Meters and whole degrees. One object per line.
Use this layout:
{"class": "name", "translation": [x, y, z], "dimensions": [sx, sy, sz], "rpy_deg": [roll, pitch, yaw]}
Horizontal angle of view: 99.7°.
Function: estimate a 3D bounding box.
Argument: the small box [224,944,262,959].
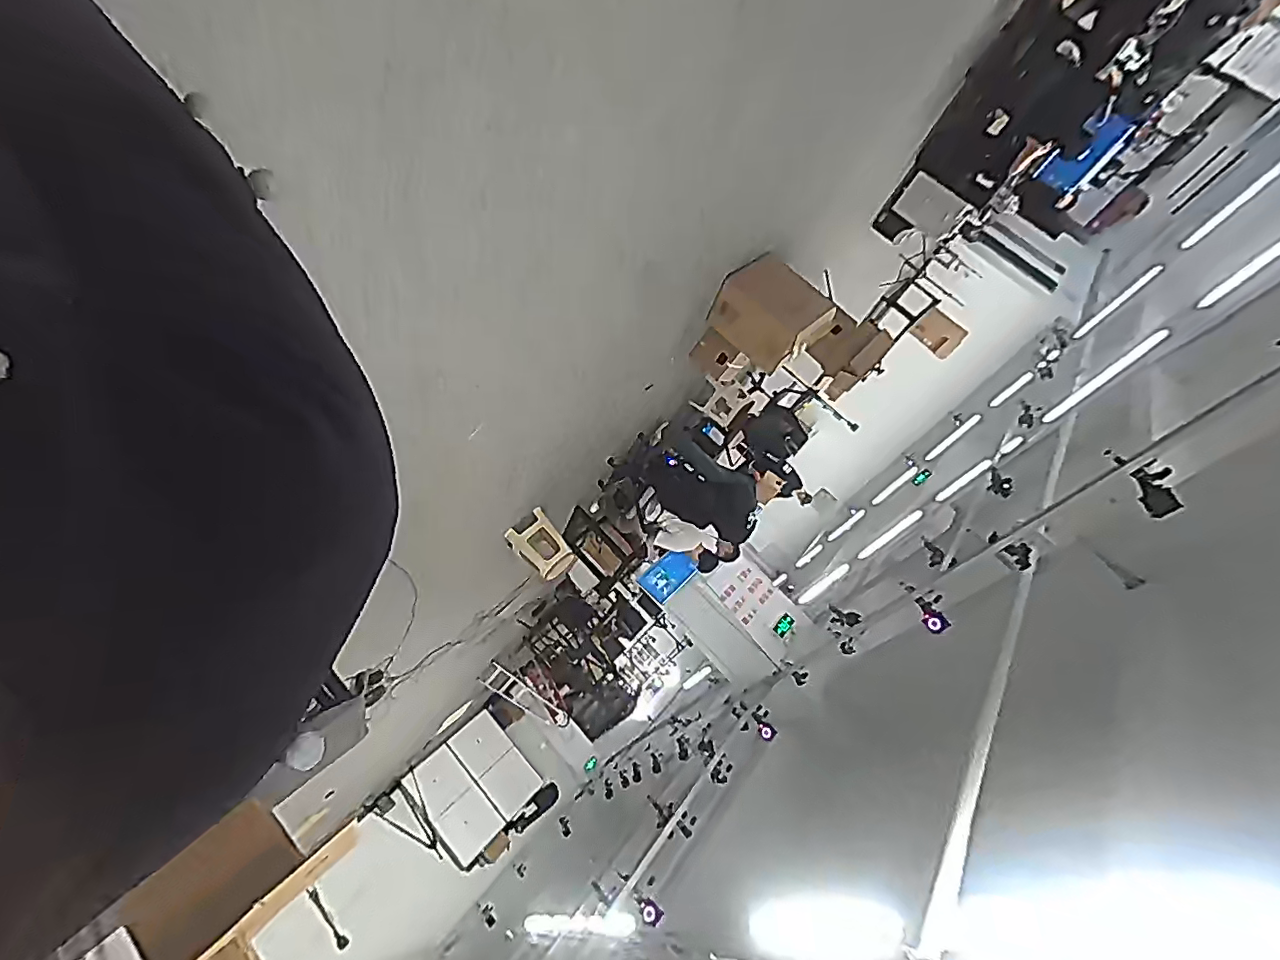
{"class": "small box", "translation": [-1.222, 1.537, 1.618], "dimensions": [0.168, 0.176, 0.179], "rpy_deg": [-35, 162, -40]}
